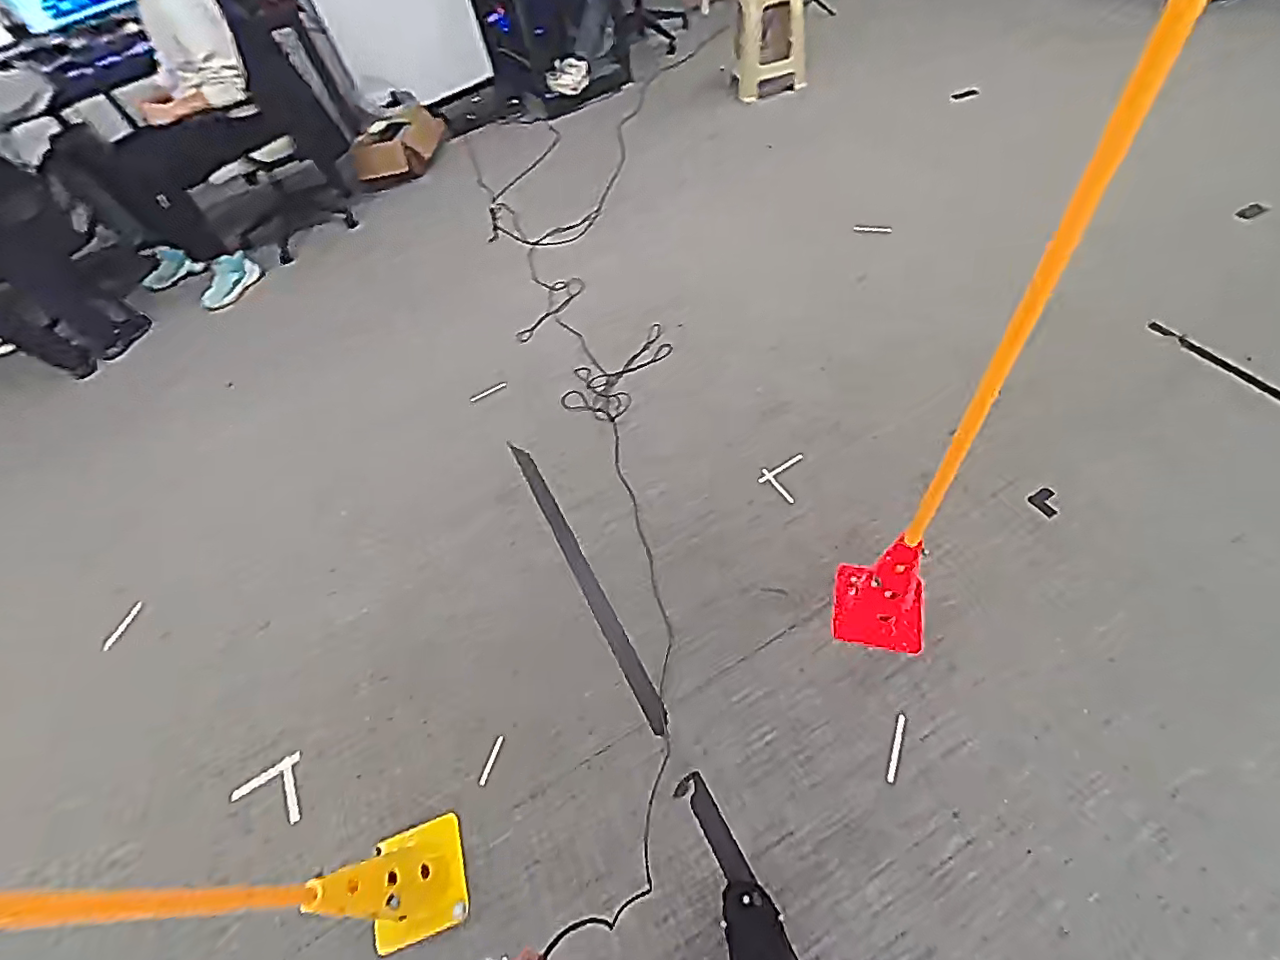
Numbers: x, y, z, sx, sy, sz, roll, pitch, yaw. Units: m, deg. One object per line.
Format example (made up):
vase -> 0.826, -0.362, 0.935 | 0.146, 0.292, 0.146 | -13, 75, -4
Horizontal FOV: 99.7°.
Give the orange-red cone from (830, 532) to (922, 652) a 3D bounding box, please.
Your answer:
orange-red cone -> 0.538, 0.210, 1.162 | 0.198, 0.360, 0.199 | 8, 60, 18
